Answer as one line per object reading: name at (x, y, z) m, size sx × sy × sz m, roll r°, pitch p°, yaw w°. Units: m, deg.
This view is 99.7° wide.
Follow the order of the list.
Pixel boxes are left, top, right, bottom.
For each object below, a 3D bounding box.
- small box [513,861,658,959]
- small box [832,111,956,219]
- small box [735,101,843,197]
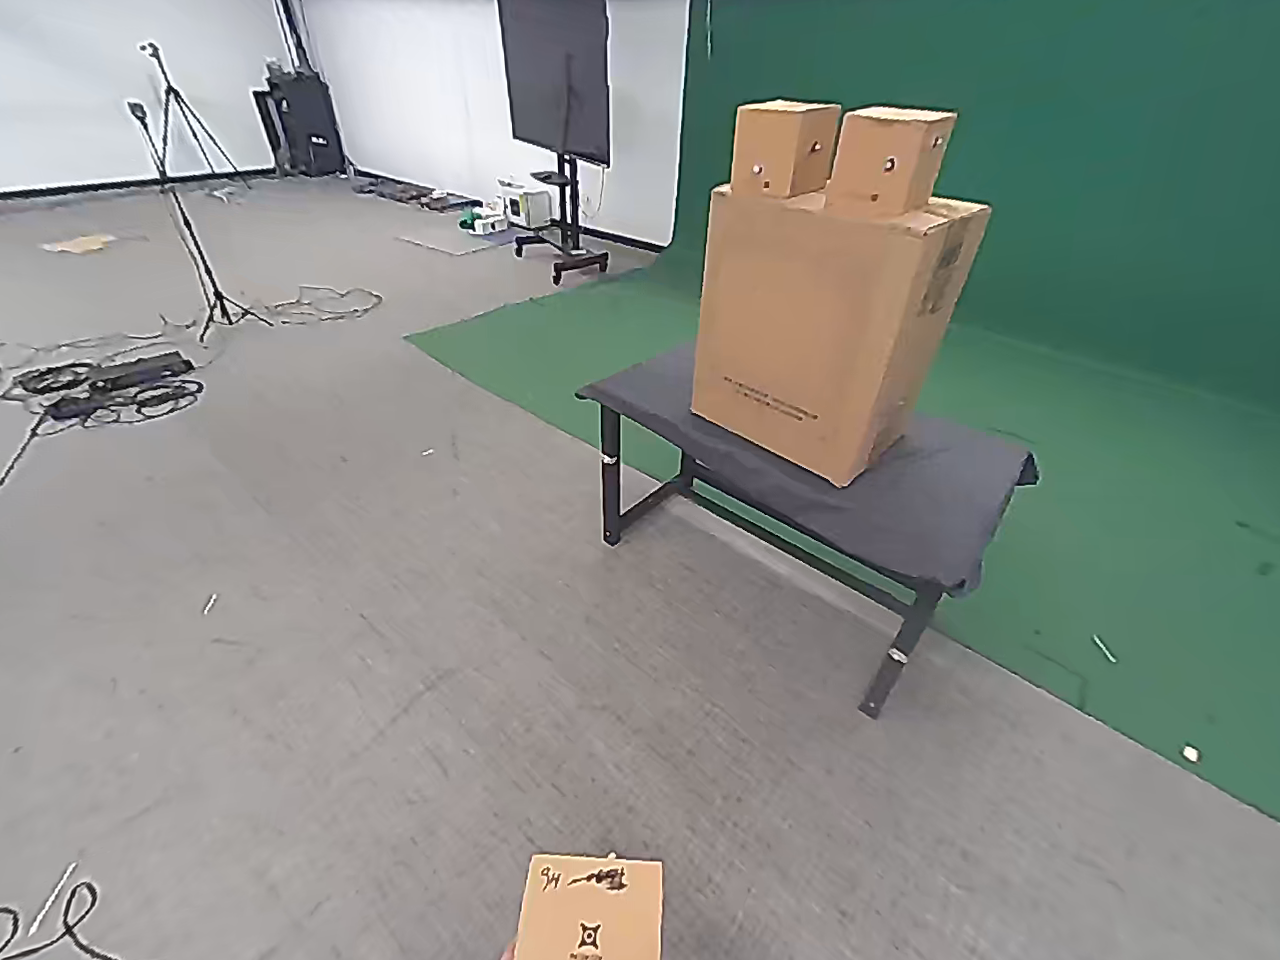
small box at (-0.060, 0.599, 0.662) m, size 0.168 × 0.176 × 0.179 m, roll 0°, pitch 36°, yaw 0°
small box at (0.528, -0.667, 1.145) m, size 0.168 × 0.176 × 0.179 m, roll 31°, pitch 47°, yaw 27°
small box at (0.339, -0.774, 1.261) m, size 0.179 × 0.176 × 0.168 m, roll -30°, pitch 48°, yaw -33°
